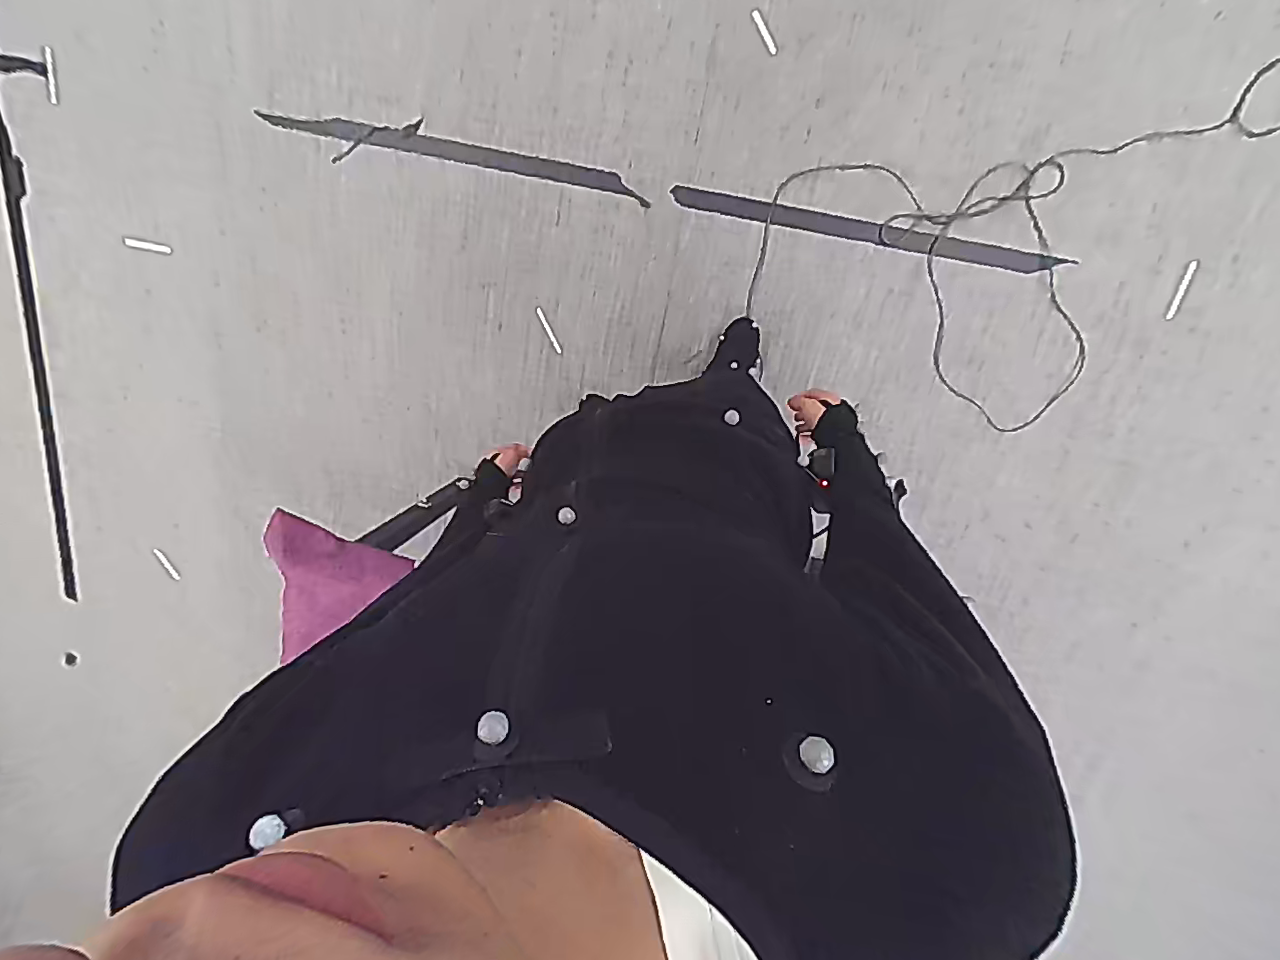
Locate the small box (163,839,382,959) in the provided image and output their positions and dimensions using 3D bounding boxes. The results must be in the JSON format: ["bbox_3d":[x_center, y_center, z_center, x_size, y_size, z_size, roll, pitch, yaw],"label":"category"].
[{"bbox_3d":[-0.446,0.593,0.680,0.179,0.176,0.168,6,107,6],"label":"small box"}]

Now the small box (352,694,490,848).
[{"bbox_3d":[-0.398,0.524,0.997,0.179,0.176,0.168,10,107,5],"label":"small box"}]
